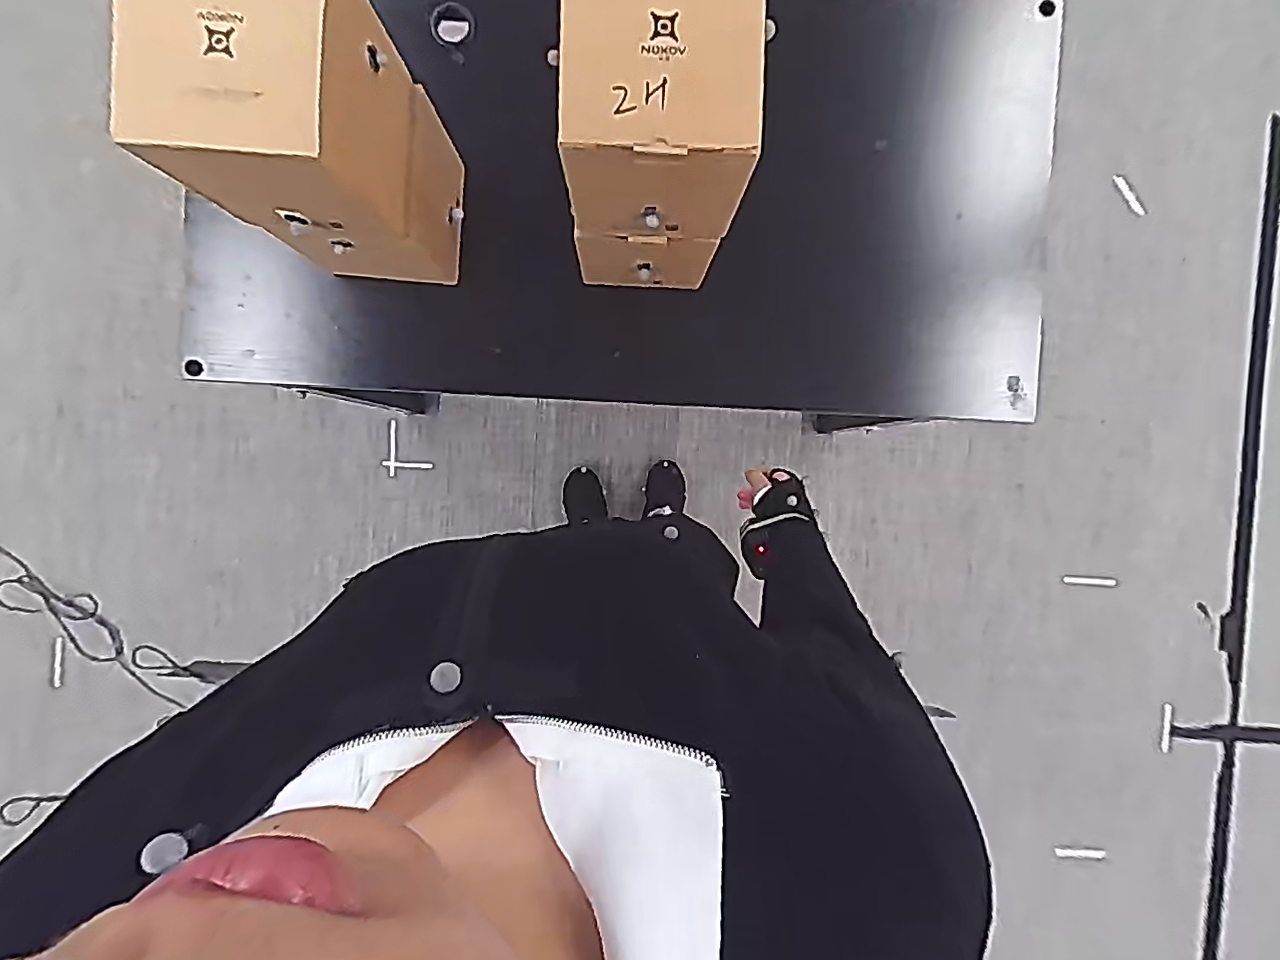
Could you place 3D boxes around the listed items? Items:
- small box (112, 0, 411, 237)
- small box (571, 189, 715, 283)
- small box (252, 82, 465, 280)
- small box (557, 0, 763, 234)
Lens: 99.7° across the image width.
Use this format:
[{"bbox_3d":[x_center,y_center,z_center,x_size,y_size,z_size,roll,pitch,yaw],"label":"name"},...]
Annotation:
[{"bbox_3d":[-0.329,-0.354,0.505,0.168,0.176,0.179,3,93,-1],"label":"small box"},{"bbox_3d":[0.006,-0.361,0.681,0.168,0.176,0.179,2,92,-2],"label":"small box"},{"bbox_3d":[-0.332,-0.360,0.668,0.179,0.176,0.168,4,92,-3],"label":"small box"},{"bbox_3d":[0.015,-0.361,0.515,0.168,0.176,0.179,1,92,-1],"label":"small box"}]
